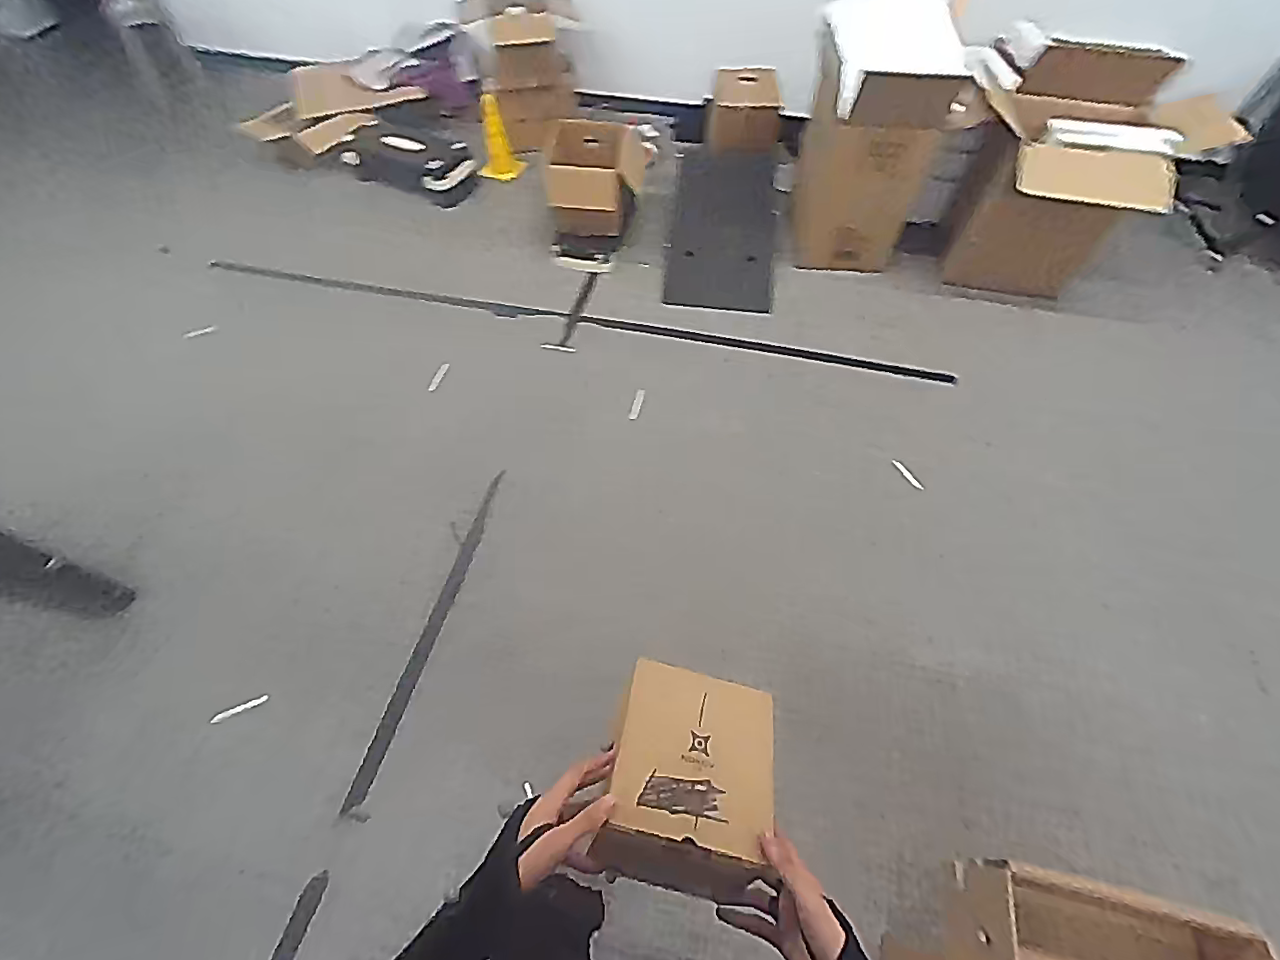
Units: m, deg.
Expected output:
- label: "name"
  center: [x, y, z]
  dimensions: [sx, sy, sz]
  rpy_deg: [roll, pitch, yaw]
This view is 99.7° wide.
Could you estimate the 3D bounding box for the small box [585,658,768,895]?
- label: "small box"
  center: [0.039, 0.338, 0.614]
  dimensions: [0.168, 0.176, 0.179]
  rpy_deg: [15, 41, -1]
